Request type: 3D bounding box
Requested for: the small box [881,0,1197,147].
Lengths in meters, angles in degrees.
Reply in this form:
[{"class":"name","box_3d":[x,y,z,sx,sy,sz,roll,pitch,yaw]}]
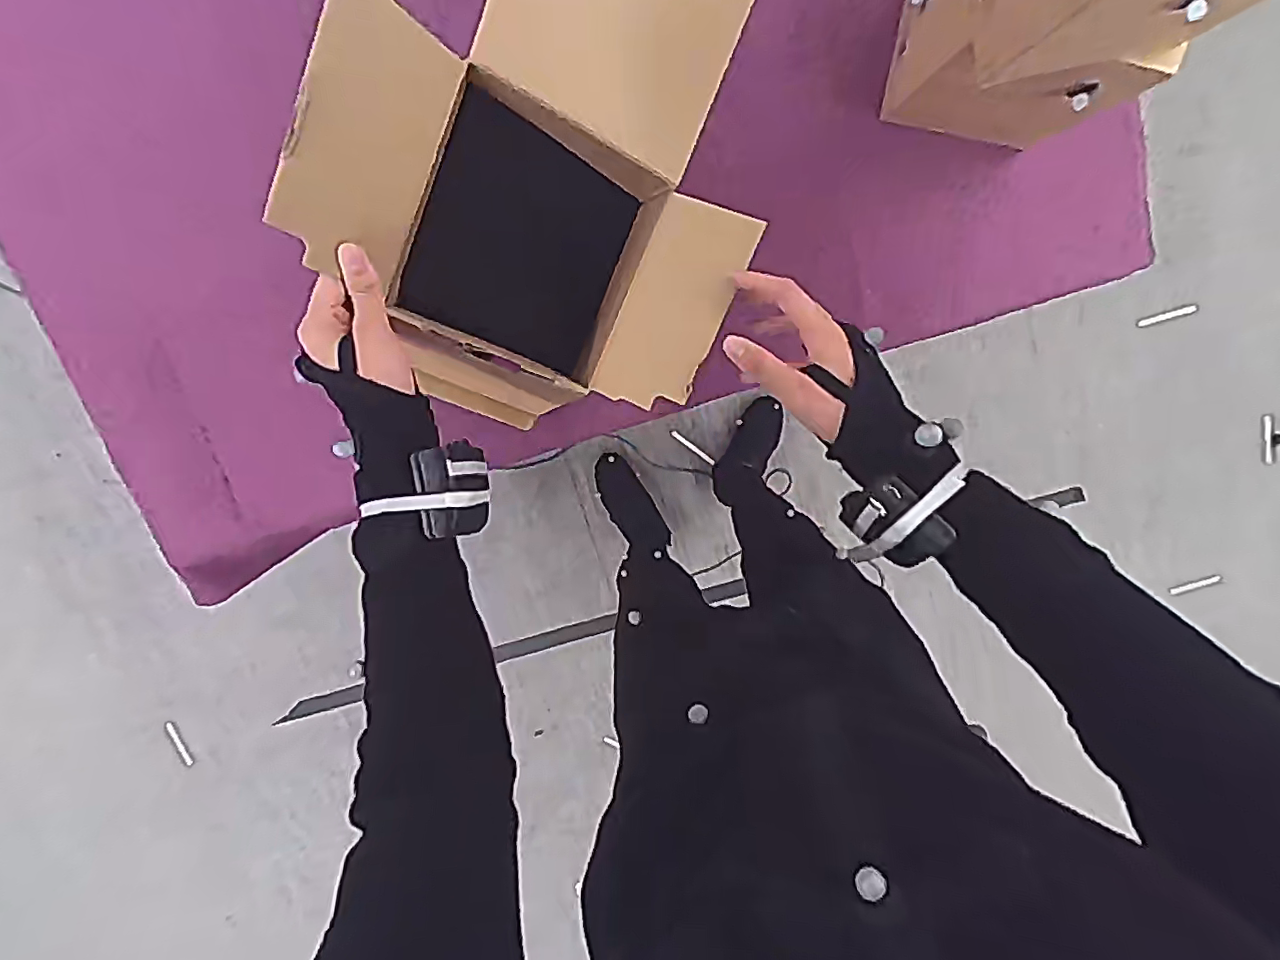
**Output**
[{"class":"small box","box_3d":[0.359,-0.434,0.495,0.179,0.176,0.168,8,102,-5]}]
